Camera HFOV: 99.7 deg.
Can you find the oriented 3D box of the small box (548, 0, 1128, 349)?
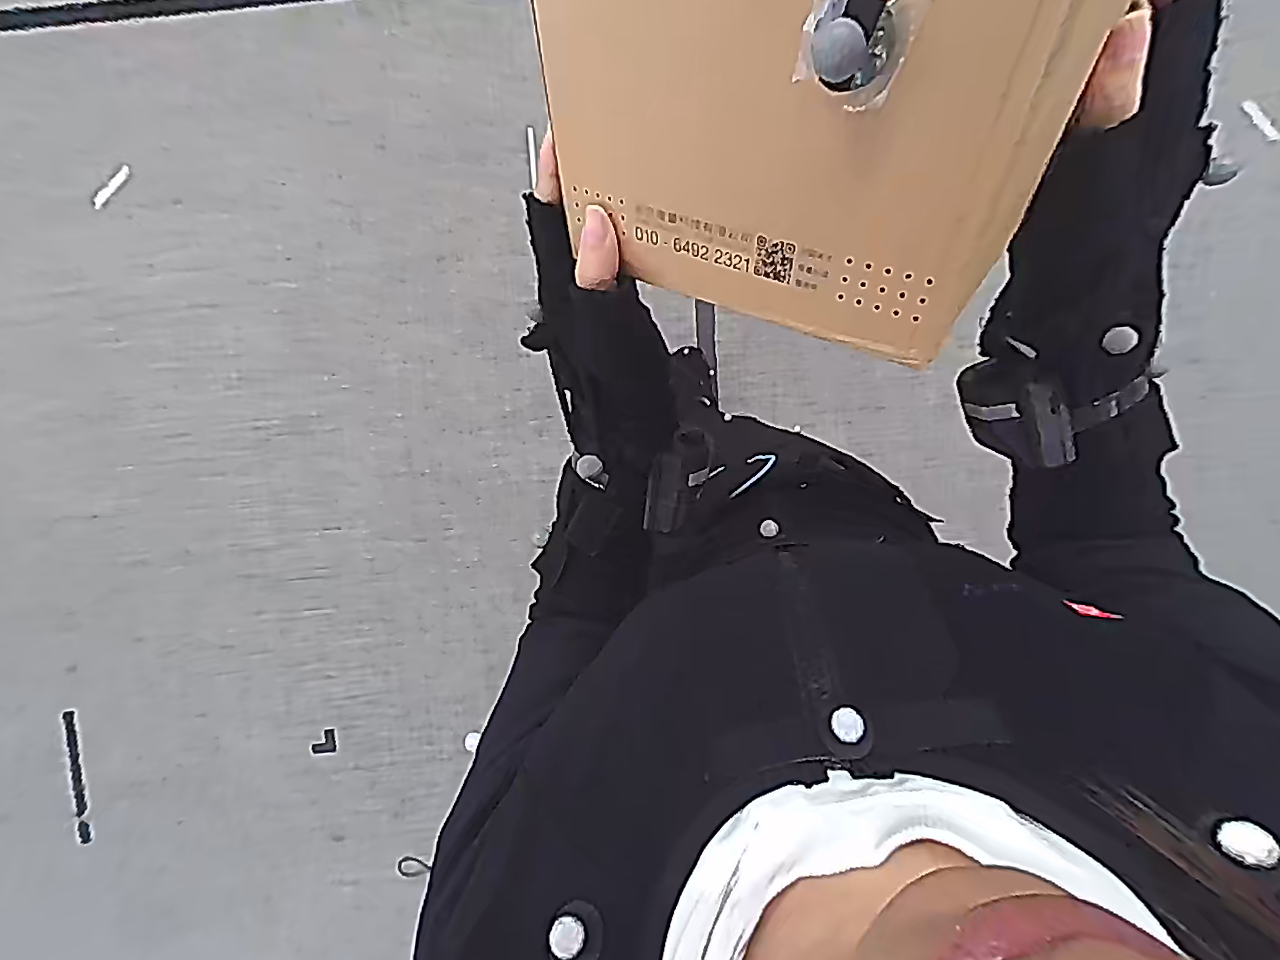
[{"bbox_3d":[0.080,-0.178,0.208,0.168,0.176,0.179,29,57,26],"label":"small box"}]
